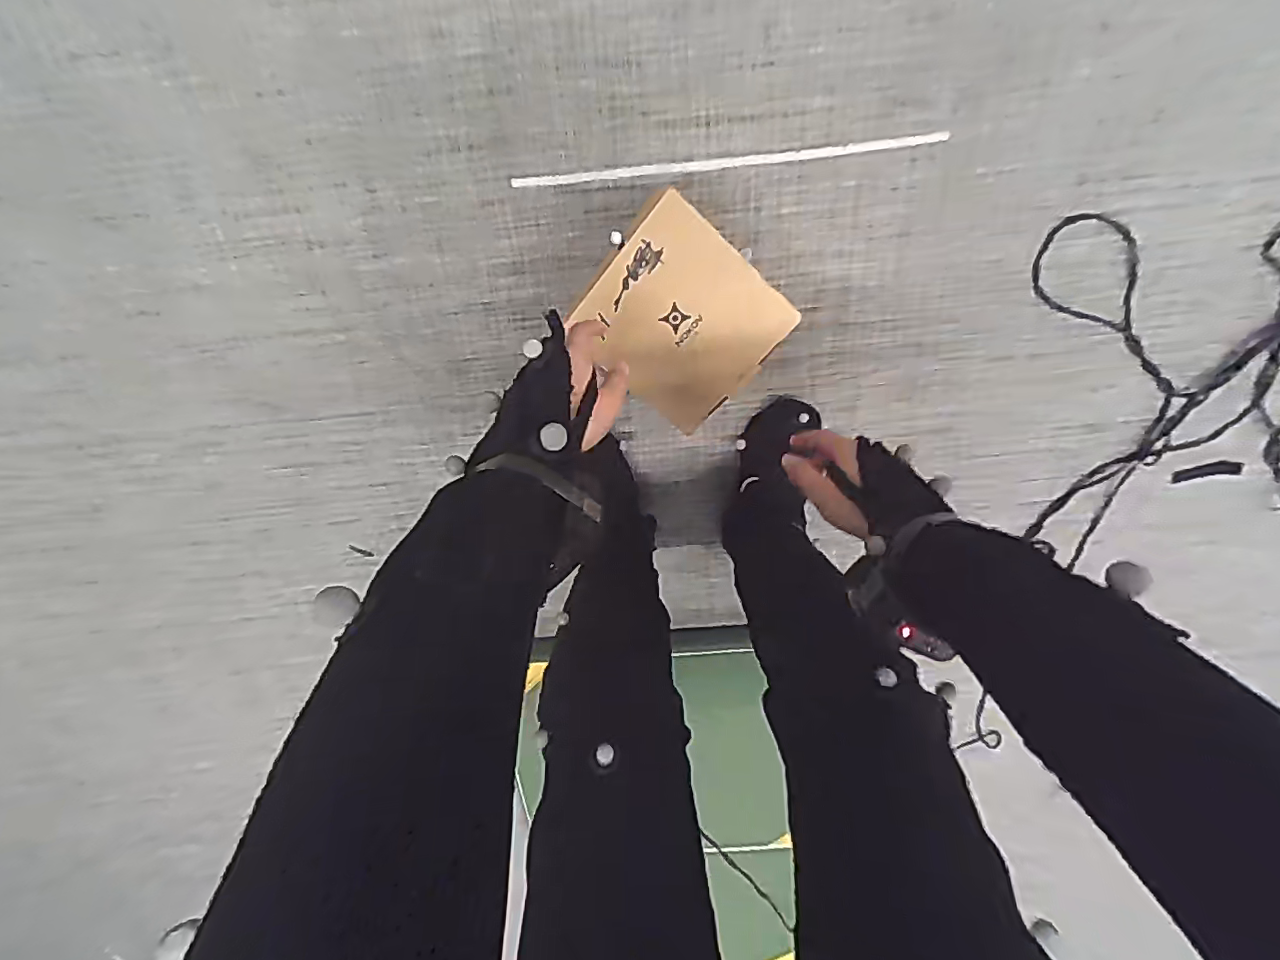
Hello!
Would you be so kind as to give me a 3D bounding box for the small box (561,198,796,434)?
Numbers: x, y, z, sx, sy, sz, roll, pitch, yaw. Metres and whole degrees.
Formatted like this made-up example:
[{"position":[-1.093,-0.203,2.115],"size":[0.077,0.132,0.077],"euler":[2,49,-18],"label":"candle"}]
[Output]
[{"position":[0.037,-0.189,0.600],"size":[0.179,0.176,0.168],"euler":[37,111,-19],"label":"small box"}]
